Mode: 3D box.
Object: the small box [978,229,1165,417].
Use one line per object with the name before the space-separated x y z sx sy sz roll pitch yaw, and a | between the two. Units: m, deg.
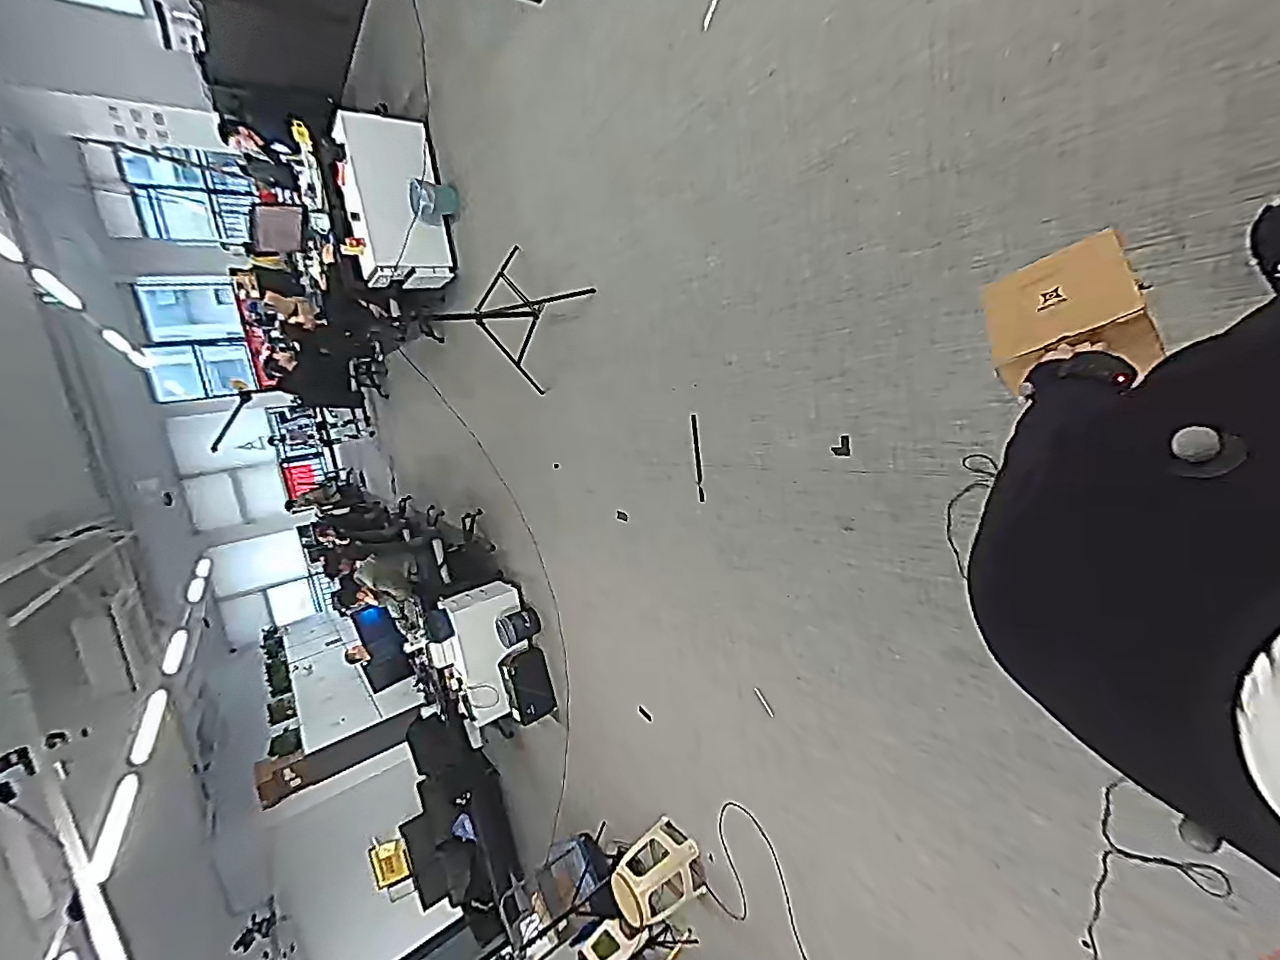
small box | 0.627 -0.214 0.793 0.168 0.176 0.179 -21 44 43
